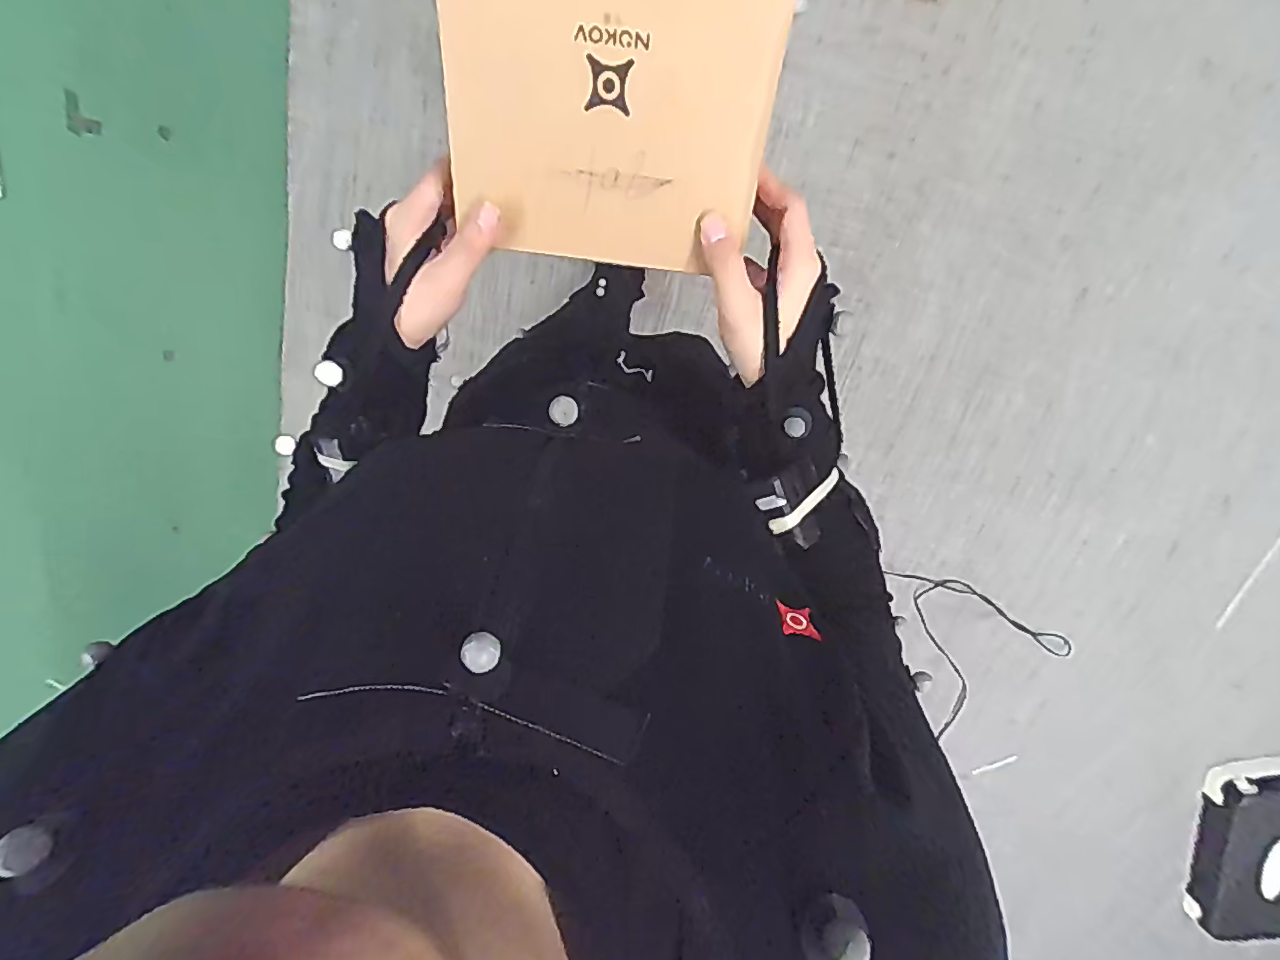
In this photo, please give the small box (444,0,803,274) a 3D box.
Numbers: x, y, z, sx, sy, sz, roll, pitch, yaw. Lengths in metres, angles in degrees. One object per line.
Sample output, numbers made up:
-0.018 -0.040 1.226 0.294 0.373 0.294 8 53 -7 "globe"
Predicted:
-0.007 -0.245 0.325 0.168 0.176 0.179 8 126 0 "small box"
